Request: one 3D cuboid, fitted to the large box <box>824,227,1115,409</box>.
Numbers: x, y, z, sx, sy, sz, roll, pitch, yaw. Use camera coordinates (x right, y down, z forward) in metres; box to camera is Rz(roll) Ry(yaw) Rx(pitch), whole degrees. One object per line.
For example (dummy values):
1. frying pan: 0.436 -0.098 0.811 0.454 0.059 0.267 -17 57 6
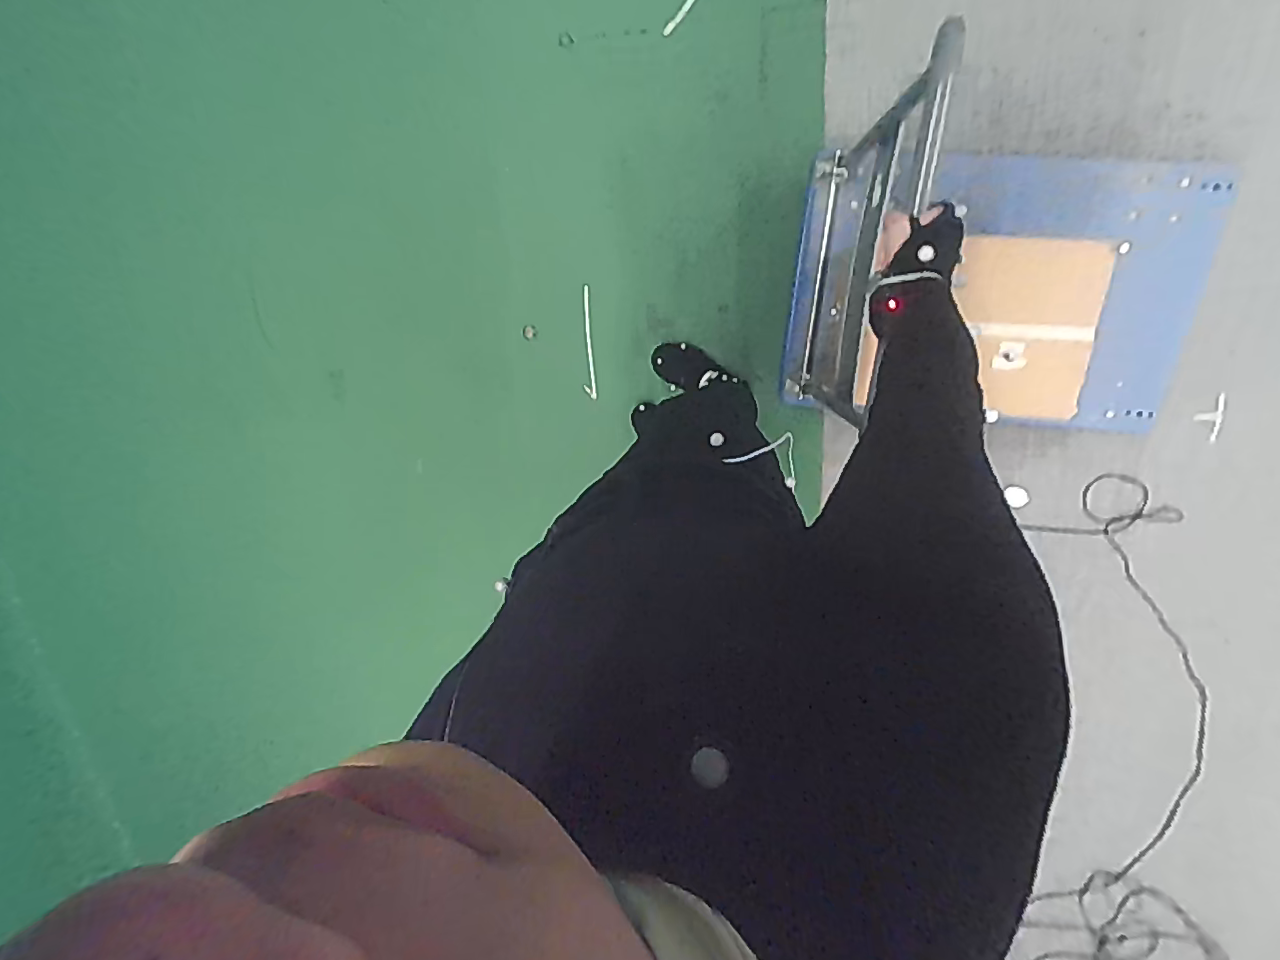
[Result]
1. large box: 0.639 -0.334 1.140 0.408 0.320 0.320 5 108 5
